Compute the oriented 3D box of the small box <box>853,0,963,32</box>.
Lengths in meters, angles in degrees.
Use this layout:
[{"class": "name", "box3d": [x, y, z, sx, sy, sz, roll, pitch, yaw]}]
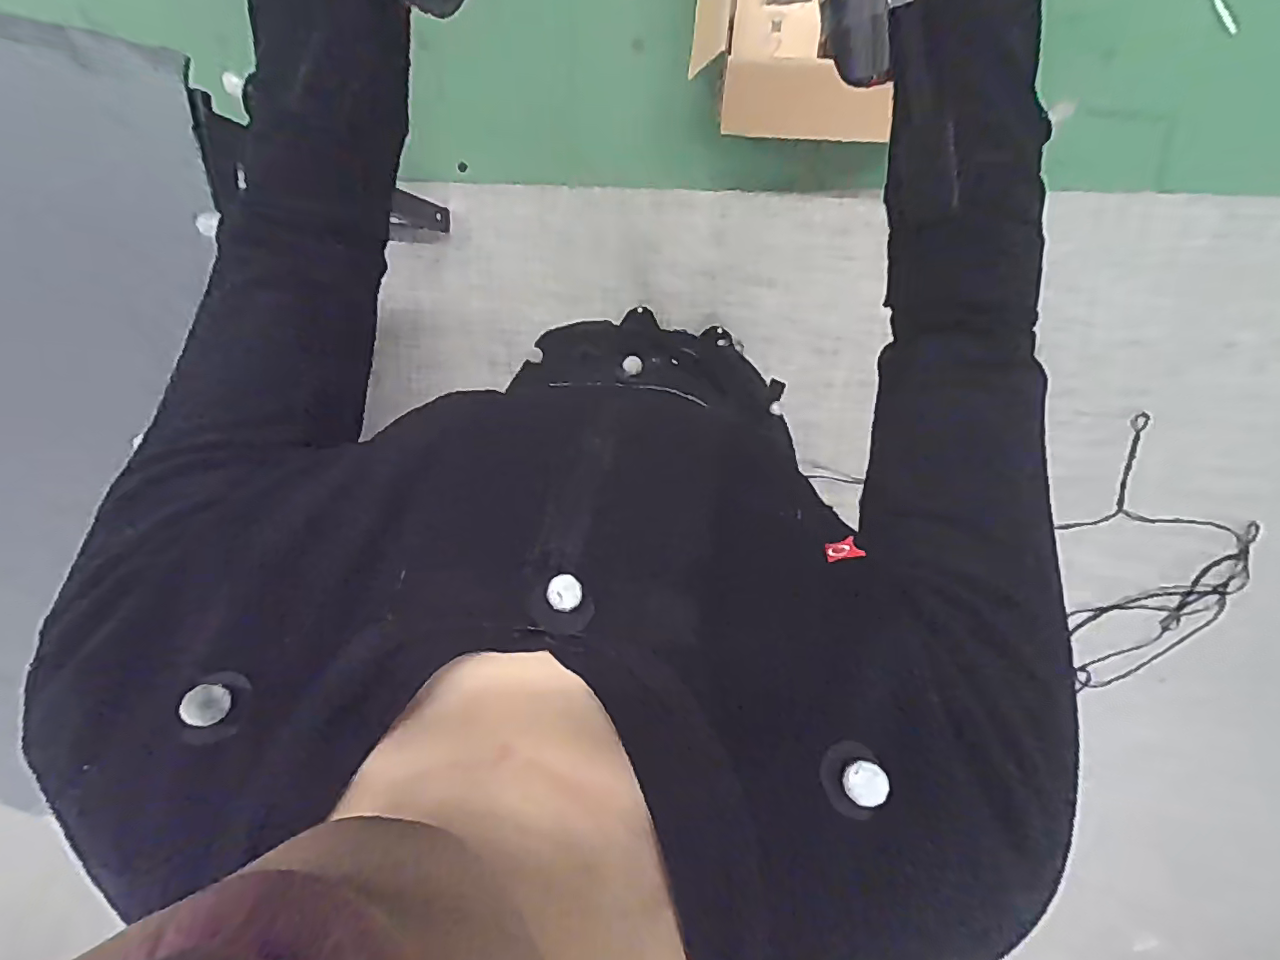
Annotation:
[{"class": "small box", "box3d": [0.472, -0.888, 0.897, 0.168, 0.176, 0.179, 7, 107, 1]}]
